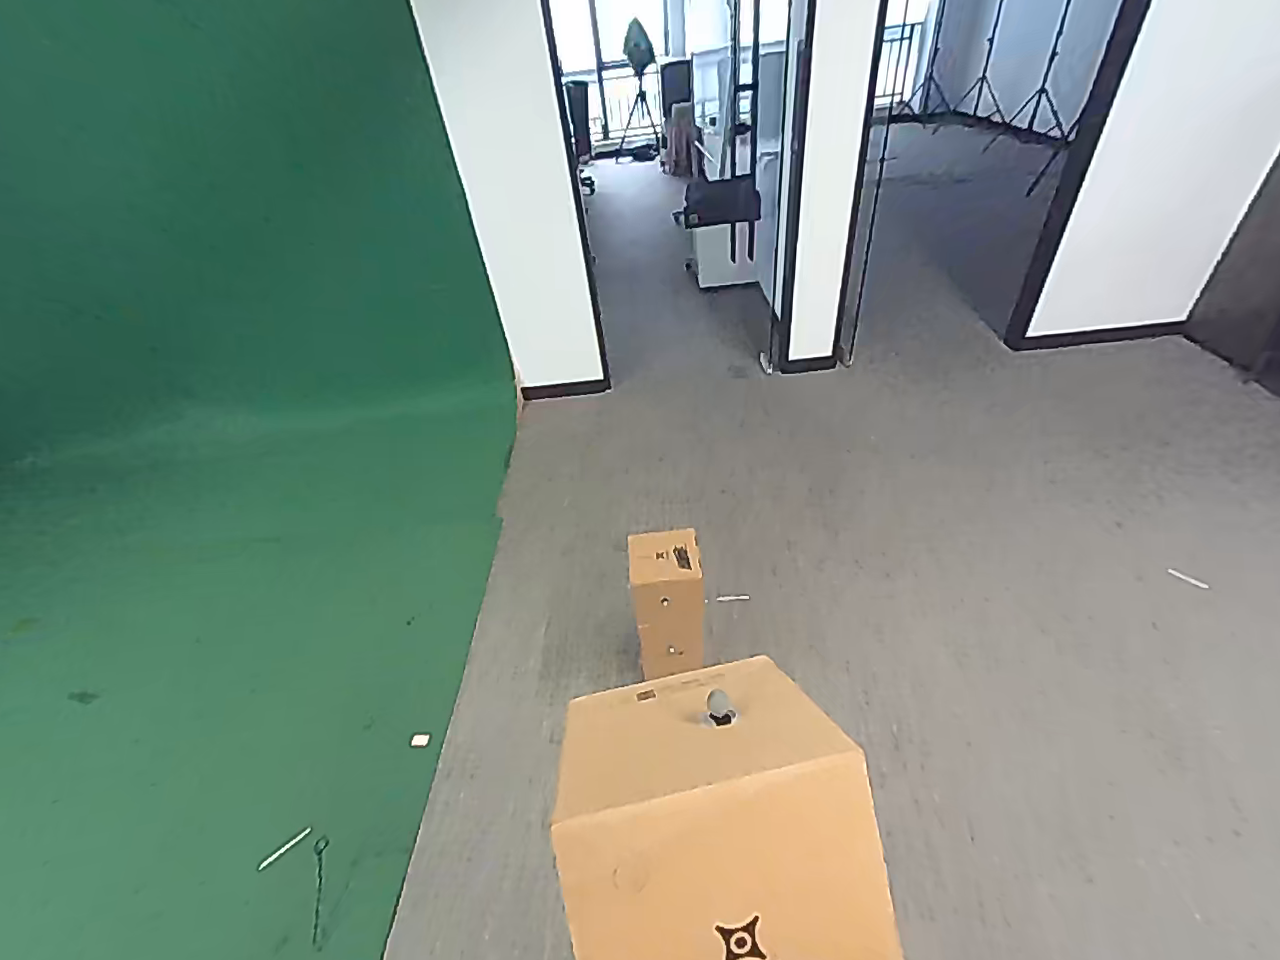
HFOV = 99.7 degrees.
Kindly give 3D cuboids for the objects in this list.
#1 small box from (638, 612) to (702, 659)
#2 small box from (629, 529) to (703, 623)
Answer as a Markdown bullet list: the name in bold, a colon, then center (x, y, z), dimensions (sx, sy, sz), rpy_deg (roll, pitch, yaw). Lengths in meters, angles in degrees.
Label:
- **small box**: center (0.079, 0.371, 1.507), dimensions (0.168, 0.176, 0.179), rpy_deg (-8, 41, 1)
- **small box**: center (0.069, 0.249, 1.396), dimensions (0.179, 0.176, 0.168), rpy_deg (-7, 40, 3)
